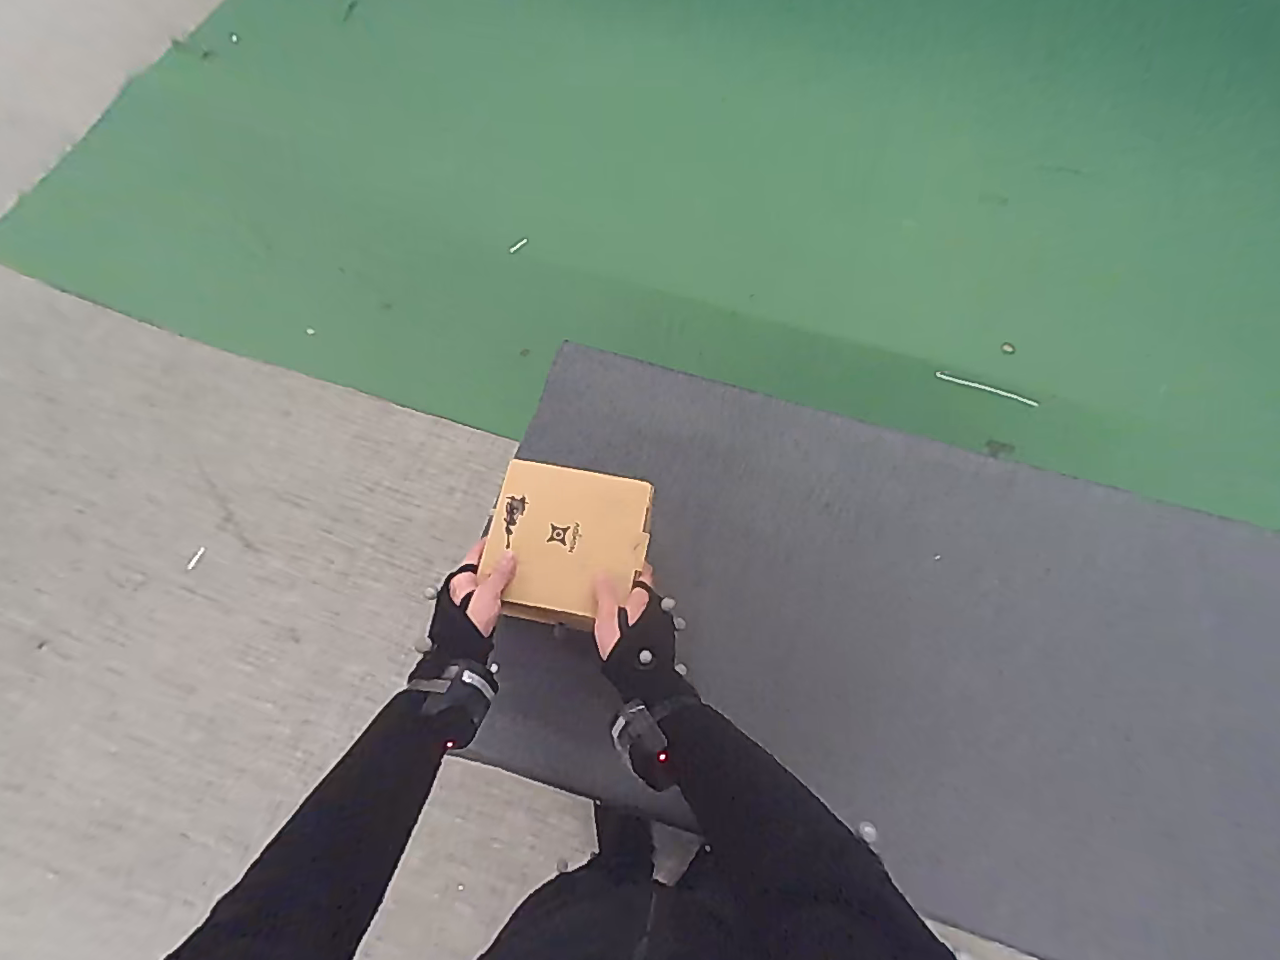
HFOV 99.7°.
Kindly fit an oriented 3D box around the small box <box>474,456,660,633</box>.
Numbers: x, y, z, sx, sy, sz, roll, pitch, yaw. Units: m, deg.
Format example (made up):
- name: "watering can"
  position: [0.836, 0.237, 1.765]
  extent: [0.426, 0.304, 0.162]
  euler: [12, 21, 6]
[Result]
- name: "small box"
  position: [-0.081, 0.090, 0.675]
  extent: [0.179, 0.176, 0.168]
  euler: [11, 69, 1]
